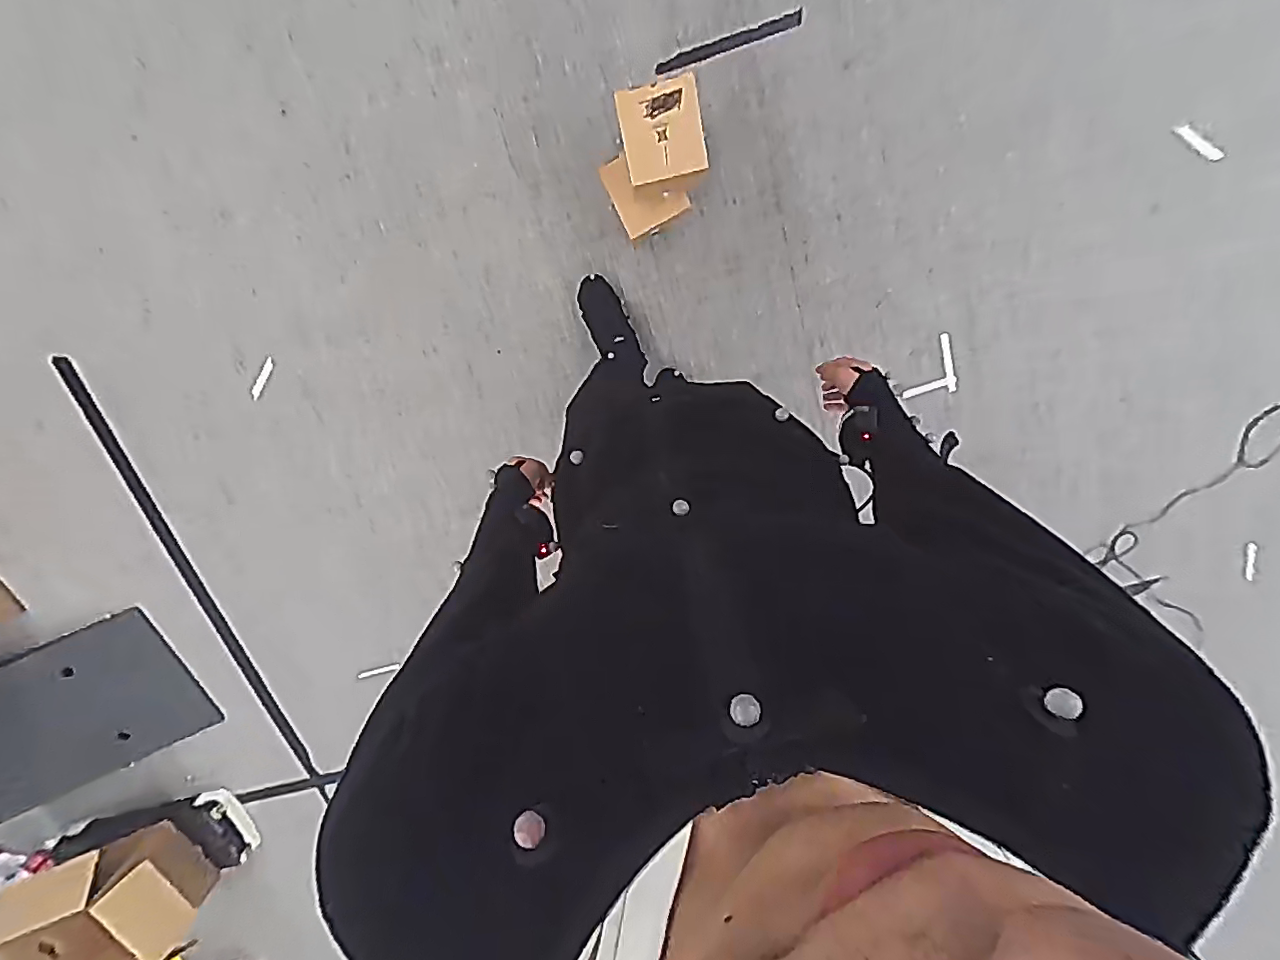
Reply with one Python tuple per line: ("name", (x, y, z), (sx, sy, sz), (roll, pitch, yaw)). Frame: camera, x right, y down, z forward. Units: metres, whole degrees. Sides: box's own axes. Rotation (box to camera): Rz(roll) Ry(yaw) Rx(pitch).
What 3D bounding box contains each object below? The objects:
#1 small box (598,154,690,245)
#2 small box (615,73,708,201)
("small box", (0.009, -0.709, 1.342), (0.168, 0.176, 0.179), (-26, 106, 8))
("small box", (0.044, -0.727, 1.165), (0.168, 0.176, 0.179), (-12, 108, 4))
